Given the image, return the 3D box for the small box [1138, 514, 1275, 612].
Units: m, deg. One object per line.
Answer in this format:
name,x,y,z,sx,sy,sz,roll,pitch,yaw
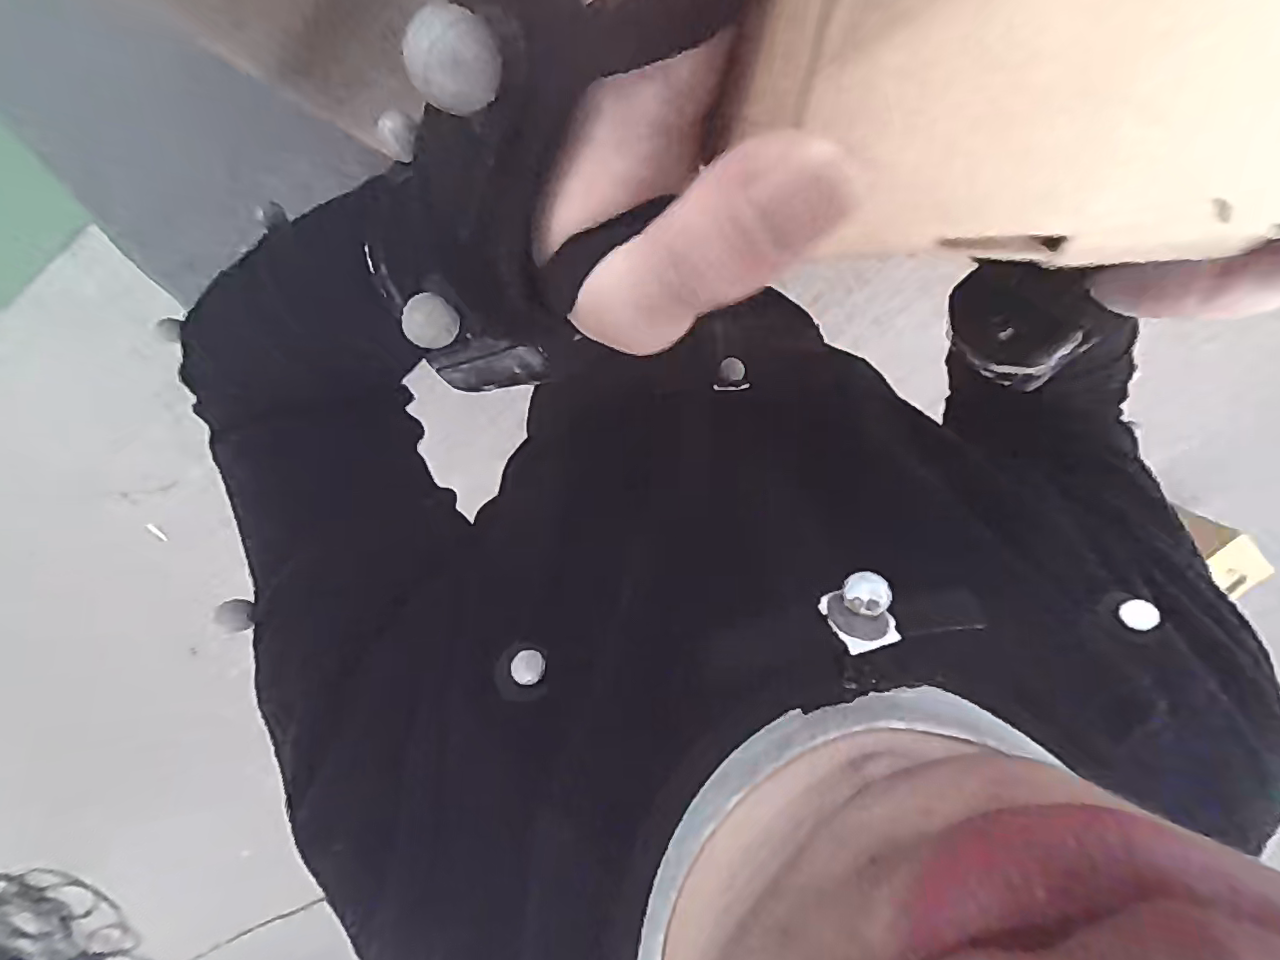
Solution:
small box,1.568,0.224,1.508,0.179,0.176,0.168,40,104,-14
